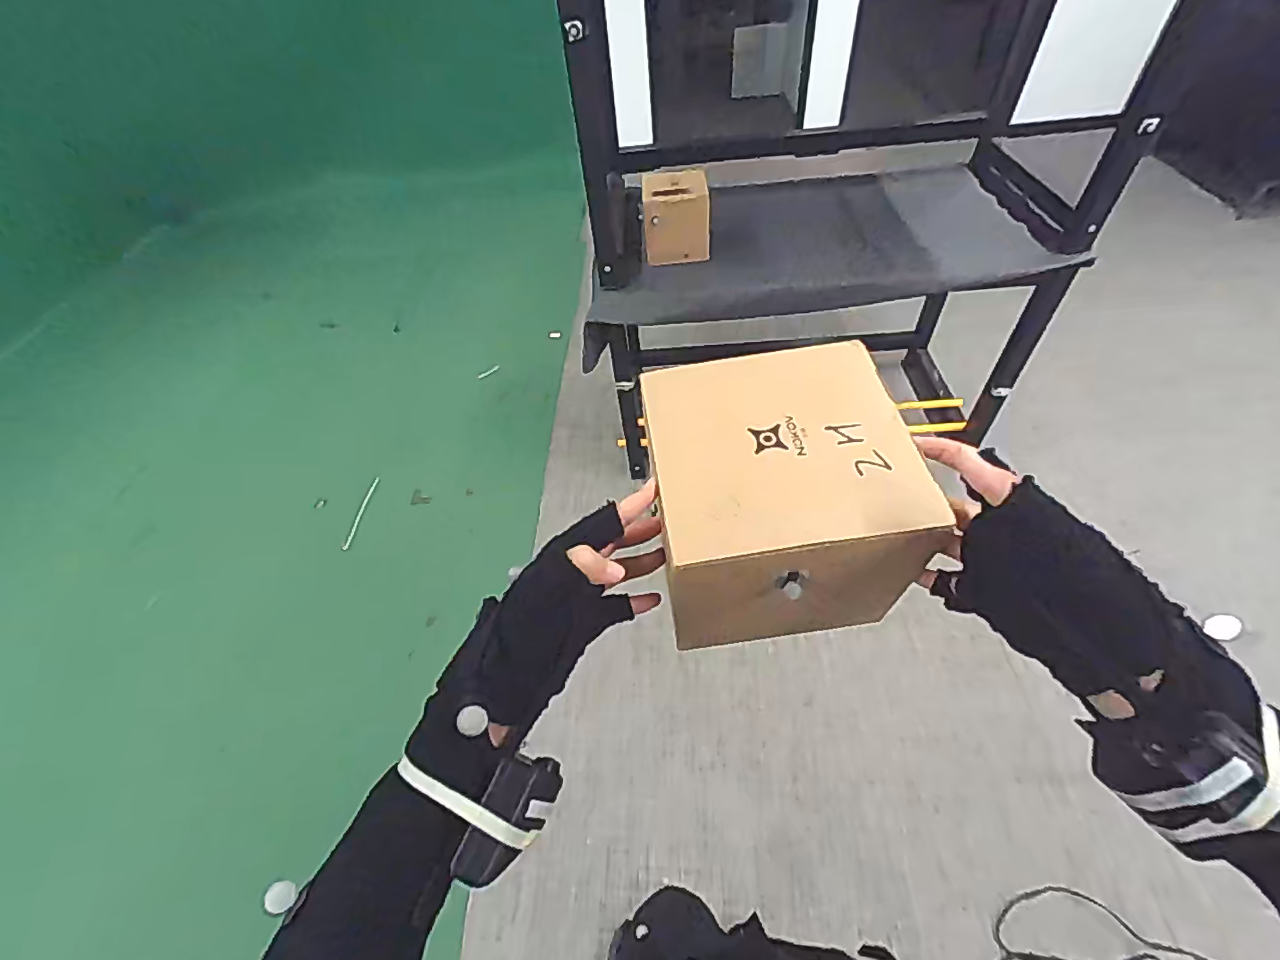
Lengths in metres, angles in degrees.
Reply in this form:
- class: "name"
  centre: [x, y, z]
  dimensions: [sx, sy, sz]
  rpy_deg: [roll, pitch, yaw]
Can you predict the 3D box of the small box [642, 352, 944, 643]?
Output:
- class: "small box"
  centre: [0.101, 0.022, 0.444]
  dimensions: [0.179, 0.176, 0.168]
  rpy_deg: [-8, 55, -1]
